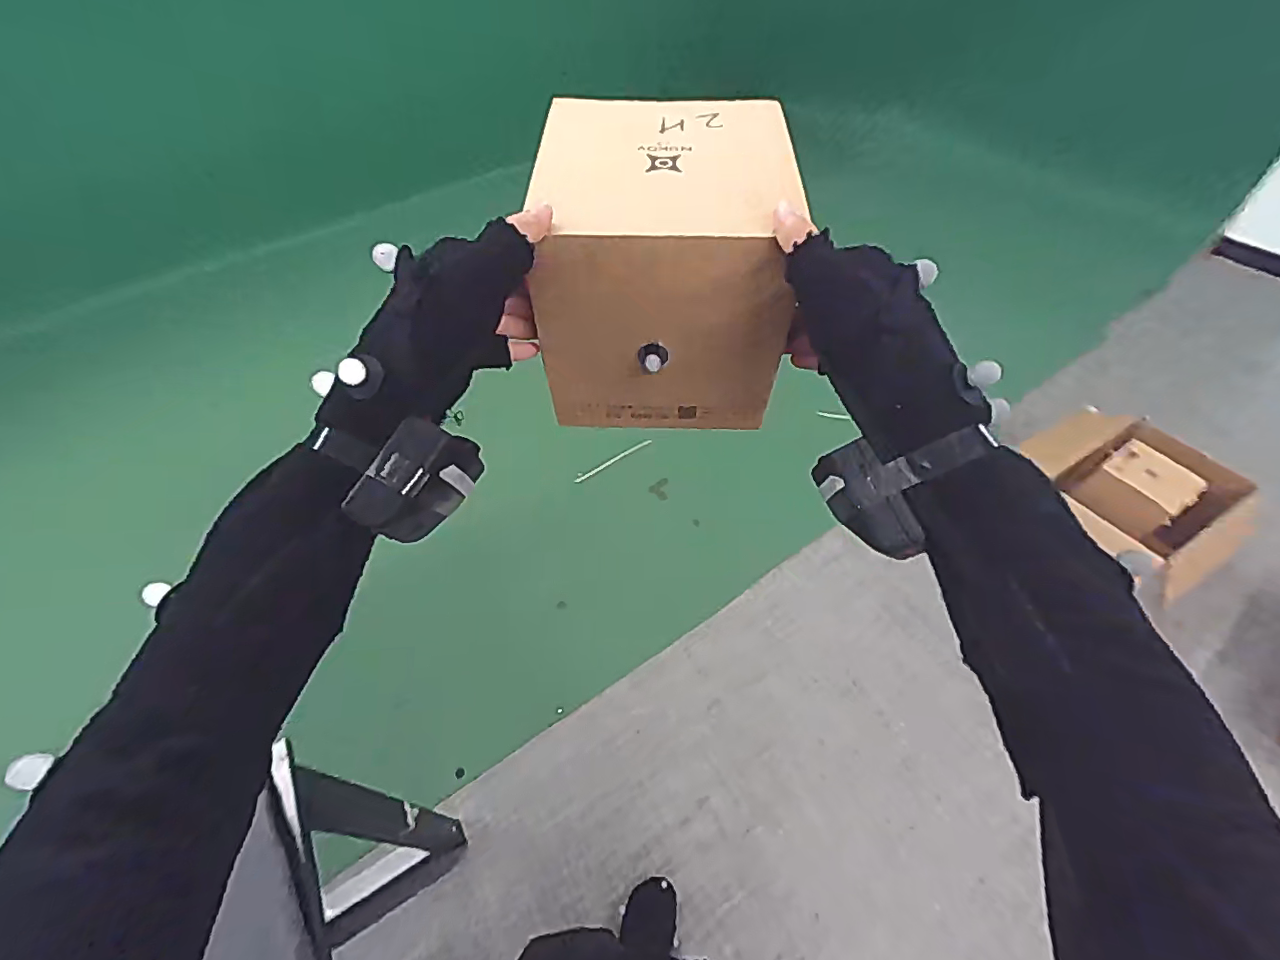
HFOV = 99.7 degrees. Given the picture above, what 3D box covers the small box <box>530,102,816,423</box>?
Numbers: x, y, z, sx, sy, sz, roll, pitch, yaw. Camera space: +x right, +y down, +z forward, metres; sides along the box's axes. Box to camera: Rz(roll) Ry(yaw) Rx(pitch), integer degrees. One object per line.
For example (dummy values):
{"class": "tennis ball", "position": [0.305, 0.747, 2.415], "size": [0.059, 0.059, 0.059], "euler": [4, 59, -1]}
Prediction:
{"class": "small box", "position": [0.023, -0.159, 0.415], "size": [0.168, 0.176, 0.179], "euler": [2, 55, 2]}
